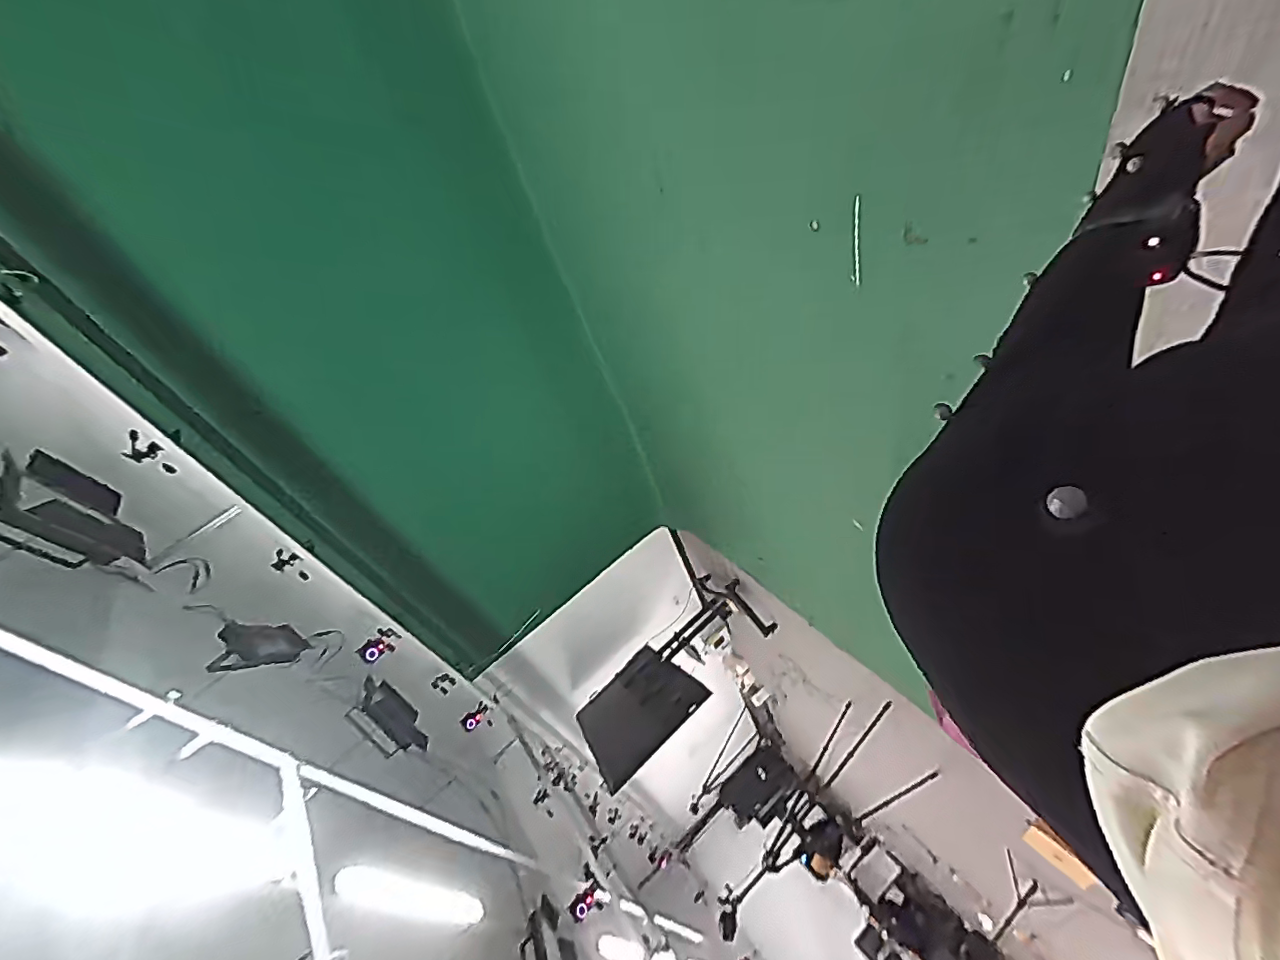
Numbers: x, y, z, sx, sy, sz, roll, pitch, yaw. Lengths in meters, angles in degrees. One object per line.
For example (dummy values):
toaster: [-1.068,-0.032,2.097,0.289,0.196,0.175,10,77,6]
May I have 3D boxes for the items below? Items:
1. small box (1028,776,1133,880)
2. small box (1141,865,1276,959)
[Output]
small box: [1.265,0.998,1.556,0.168,0.176,0.179,36,159,43]
small box: [1.431,1.123,1.365,0.168,0.176,0.179,37,158,45]
